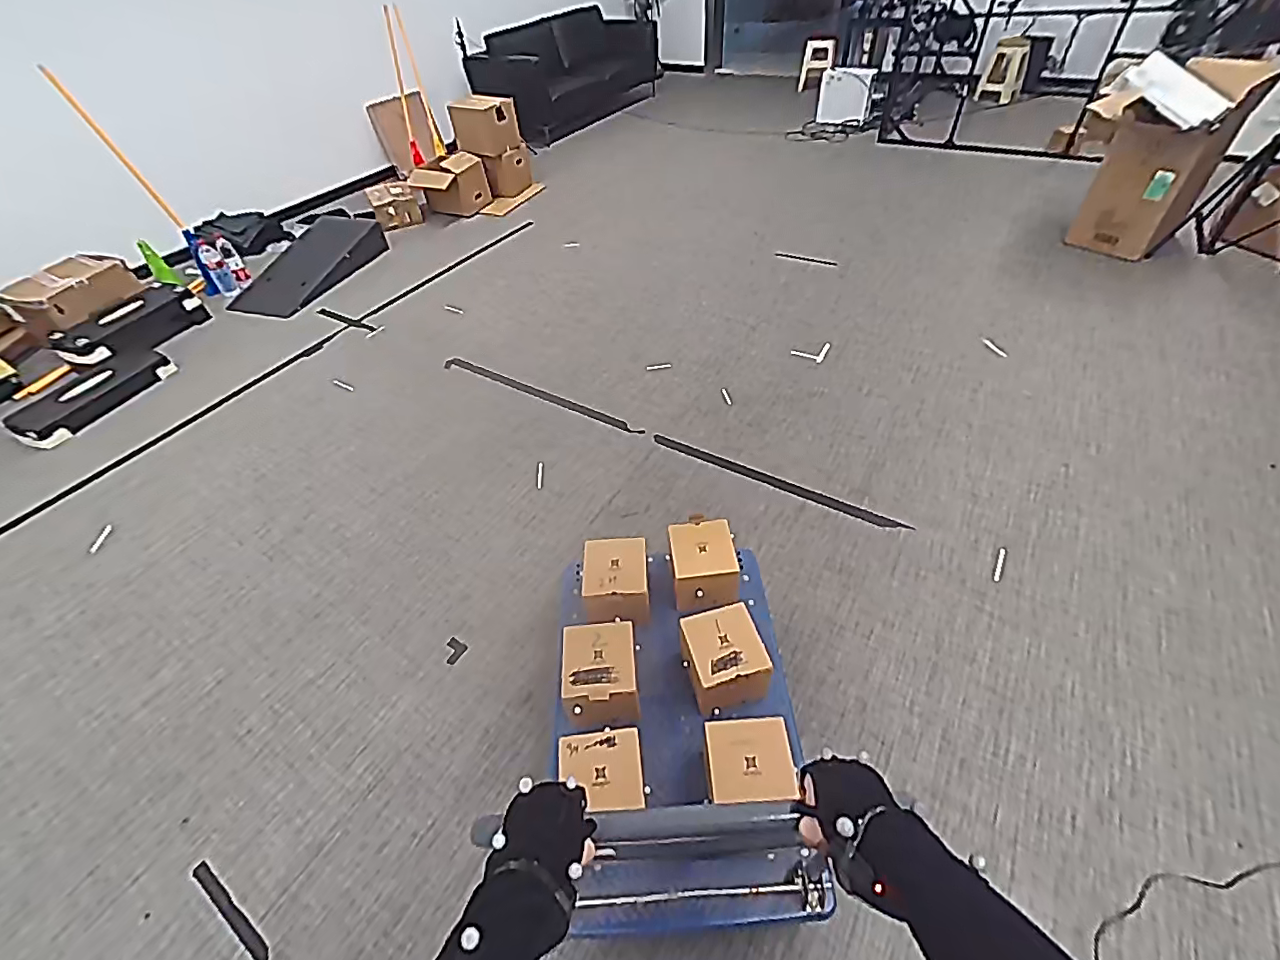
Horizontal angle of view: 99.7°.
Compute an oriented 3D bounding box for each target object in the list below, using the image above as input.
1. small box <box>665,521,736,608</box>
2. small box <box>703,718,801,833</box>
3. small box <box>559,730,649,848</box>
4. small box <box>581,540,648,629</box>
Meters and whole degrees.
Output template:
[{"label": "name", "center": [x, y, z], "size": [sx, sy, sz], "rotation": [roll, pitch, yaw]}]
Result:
[{"label": "small box", "center": [0.165, 0.239, 1.490], "size": [0.168, 0.176, 0.179], "rotation": [-7, 46, -2]}, {"label": "small box", "center": [0.223, 0.618, 1.124], "size": [0.168, 0.176, 0.179], "rotation": [-4, 45, 0]}, {"label": "small box", "center": [-0.074, 0.644, 1.120], "size": [0.168, 0.176, 0.179], "rotation": [-6, 47, -3]}, {"label": "small box", "center": [-0.065, 0.283, 1.465], "size": [0.168, 0.176, 0.179], "rotation": [-3, 47, 2]}]
